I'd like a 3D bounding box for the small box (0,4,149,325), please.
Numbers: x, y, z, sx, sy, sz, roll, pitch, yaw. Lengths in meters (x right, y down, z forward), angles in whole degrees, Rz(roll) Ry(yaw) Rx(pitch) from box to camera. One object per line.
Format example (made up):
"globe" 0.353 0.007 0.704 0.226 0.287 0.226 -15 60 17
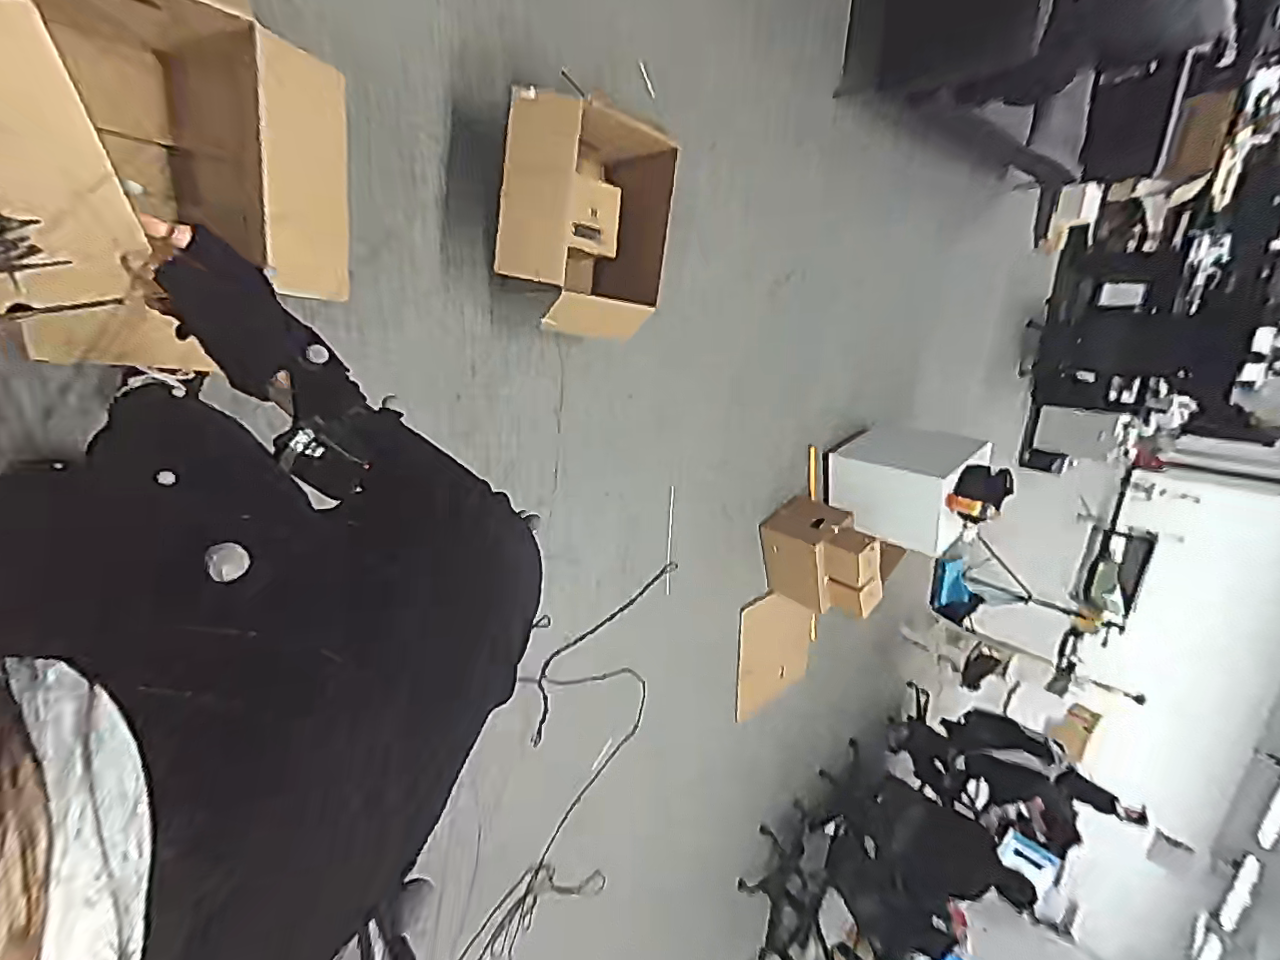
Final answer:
"small box" -0.480 -0.202 0.371 0.168 0.176 0.179 -27 123 -35
